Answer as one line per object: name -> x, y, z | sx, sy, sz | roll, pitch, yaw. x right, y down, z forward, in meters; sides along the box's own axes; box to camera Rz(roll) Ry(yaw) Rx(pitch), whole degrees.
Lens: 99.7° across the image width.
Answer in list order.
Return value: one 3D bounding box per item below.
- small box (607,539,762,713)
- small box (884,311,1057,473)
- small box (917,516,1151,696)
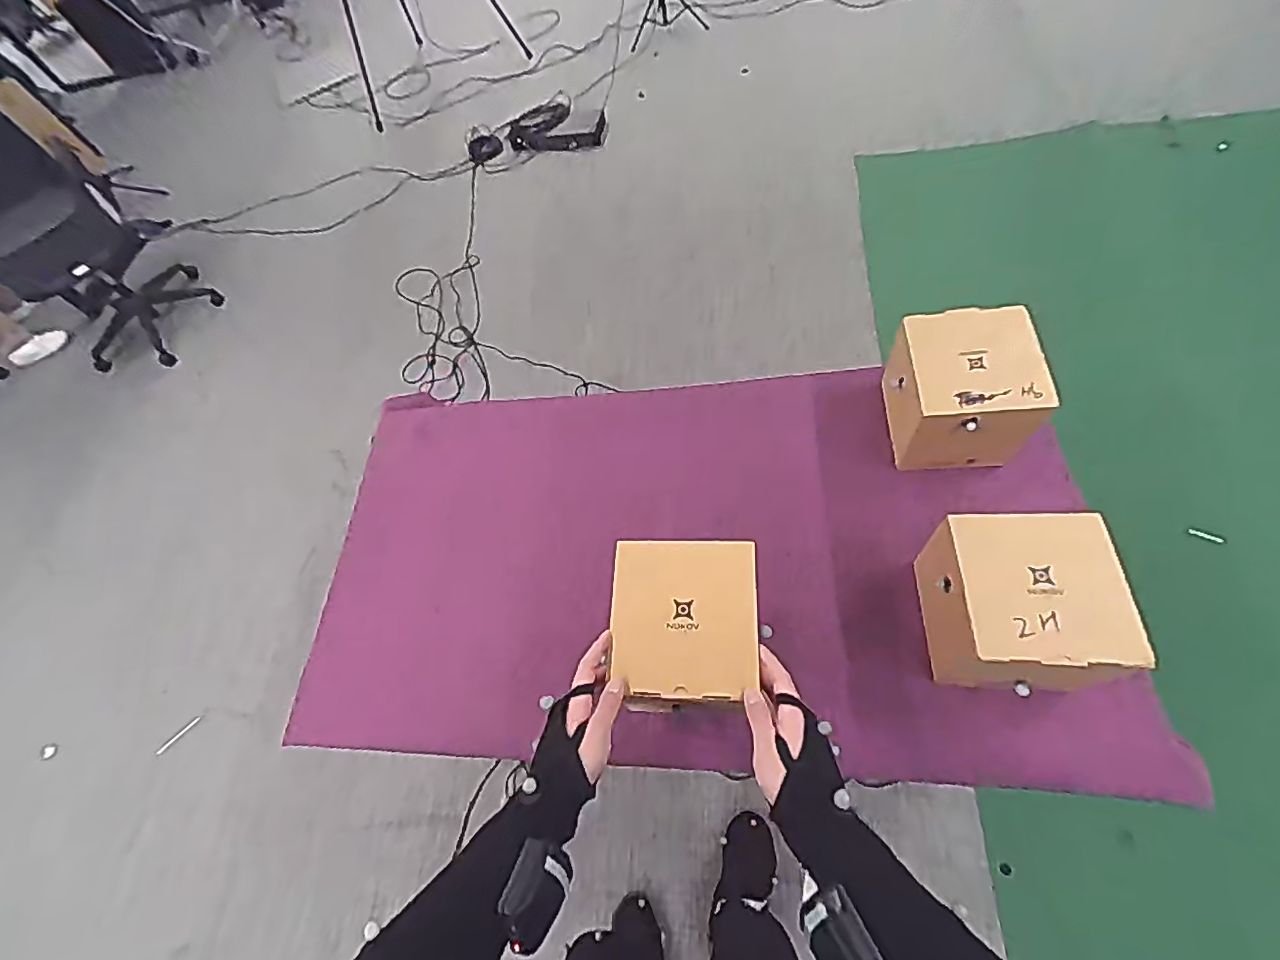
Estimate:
small box -> 0.060, 0.186, 0.676 | 0.168, 0.176, 0.179 | -1, 63, 8
small box -> 0.481, -0.126, 0.820 | 0.168, 0.176, 0.179 | -3, 63, 12
small box -> 0.461, 0.158, 0.672 | 0.168, 0.176, 0.179 | -1, 61, 12
